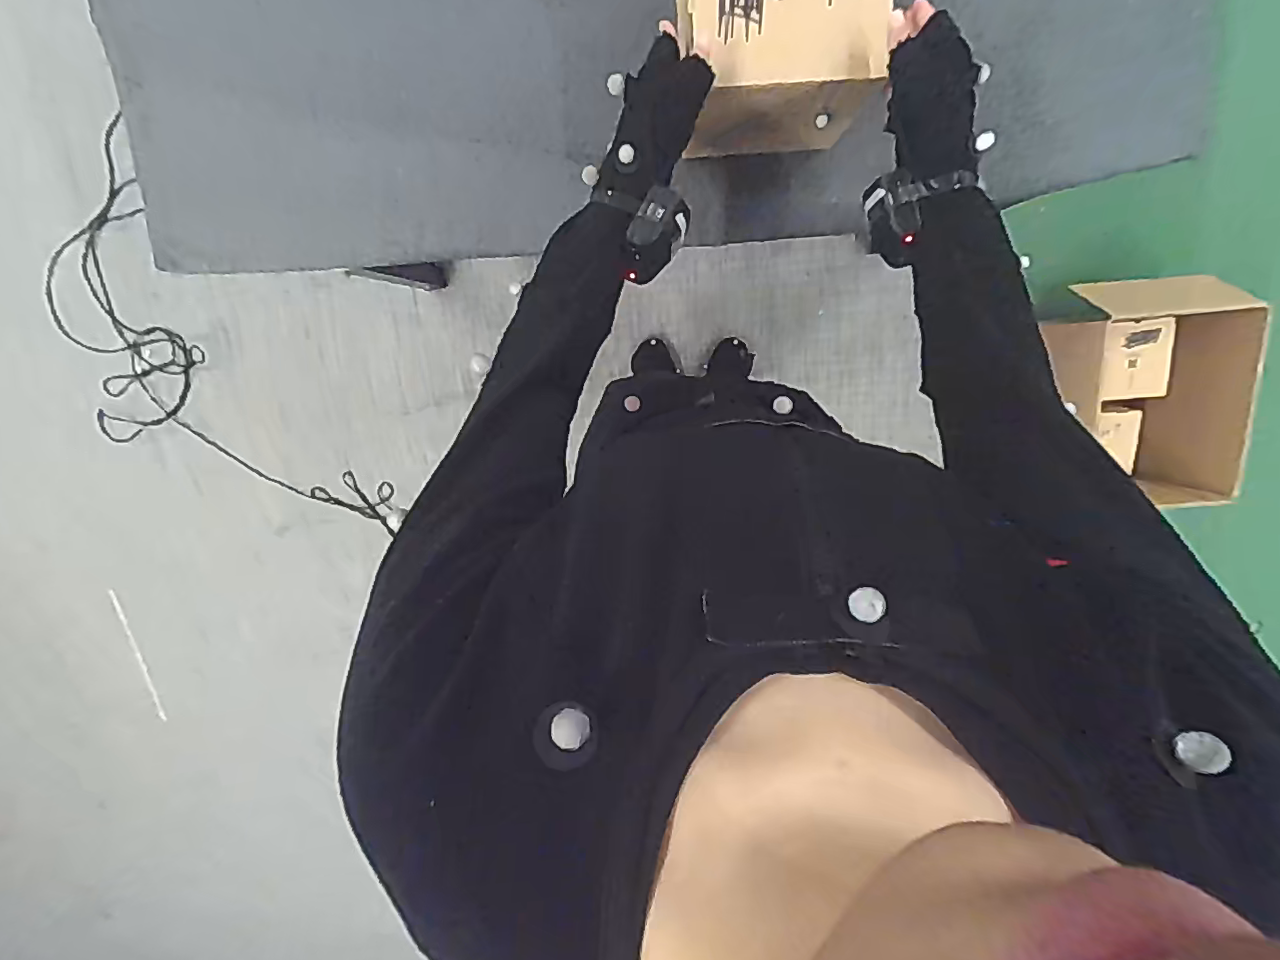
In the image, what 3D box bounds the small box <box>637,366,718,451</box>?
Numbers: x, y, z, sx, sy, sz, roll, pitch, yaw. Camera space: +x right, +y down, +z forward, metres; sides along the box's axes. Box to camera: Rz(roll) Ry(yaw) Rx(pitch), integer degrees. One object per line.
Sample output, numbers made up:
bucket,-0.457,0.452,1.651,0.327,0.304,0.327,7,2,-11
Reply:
small box,0.088,-0.187,1.385,0.168,0.176,0.179,5,108,-10
